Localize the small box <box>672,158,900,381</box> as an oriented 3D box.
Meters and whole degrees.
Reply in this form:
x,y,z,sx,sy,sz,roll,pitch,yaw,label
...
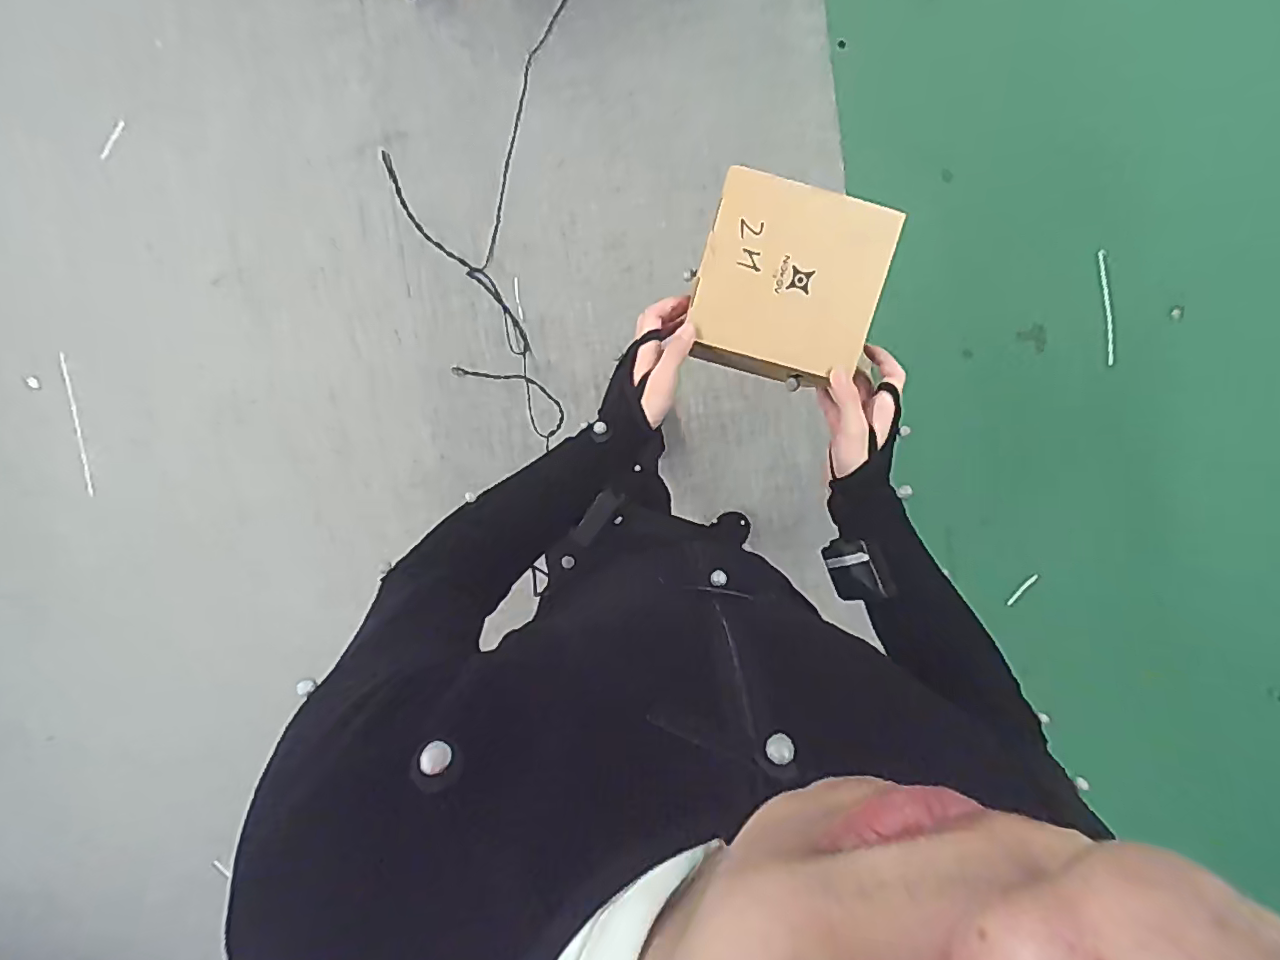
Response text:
x,y,z,sx,sy,sz,roll,pitch,yaw,label
0.140,-0.210,0.591,0.179,0.176,0.168,16,98,-1,small box
